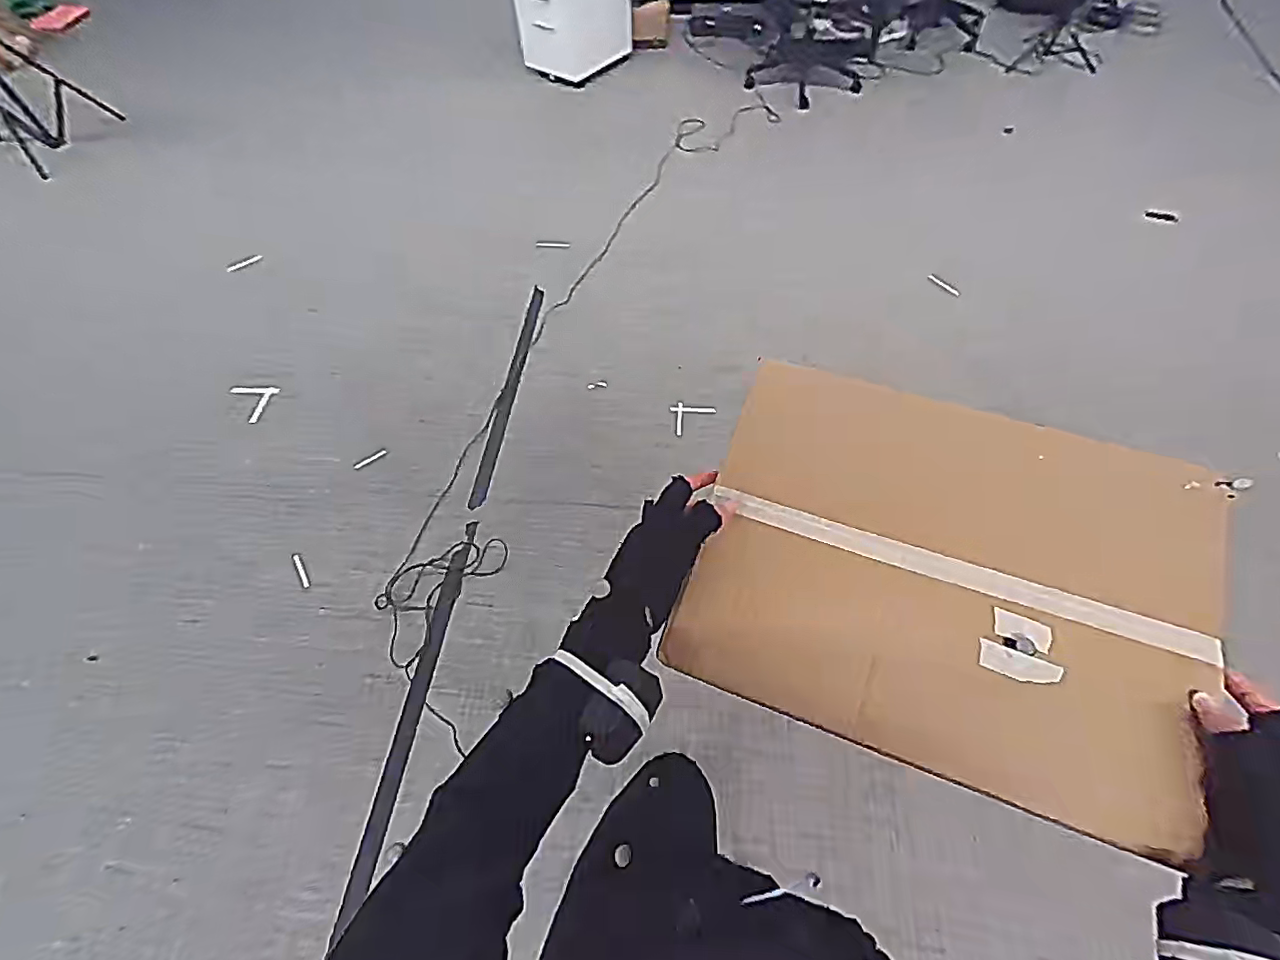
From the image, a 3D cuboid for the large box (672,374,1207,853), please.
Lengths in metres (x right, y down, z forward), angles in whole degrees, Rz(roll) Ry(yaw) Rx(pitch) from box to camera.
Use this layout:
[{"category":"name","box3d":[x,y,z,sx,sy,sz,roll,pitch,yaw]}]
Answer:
[{"category":"large box","box3d":[0.276,0.130,0.613,0.408,0.320,0.320,18,74,13]}]
